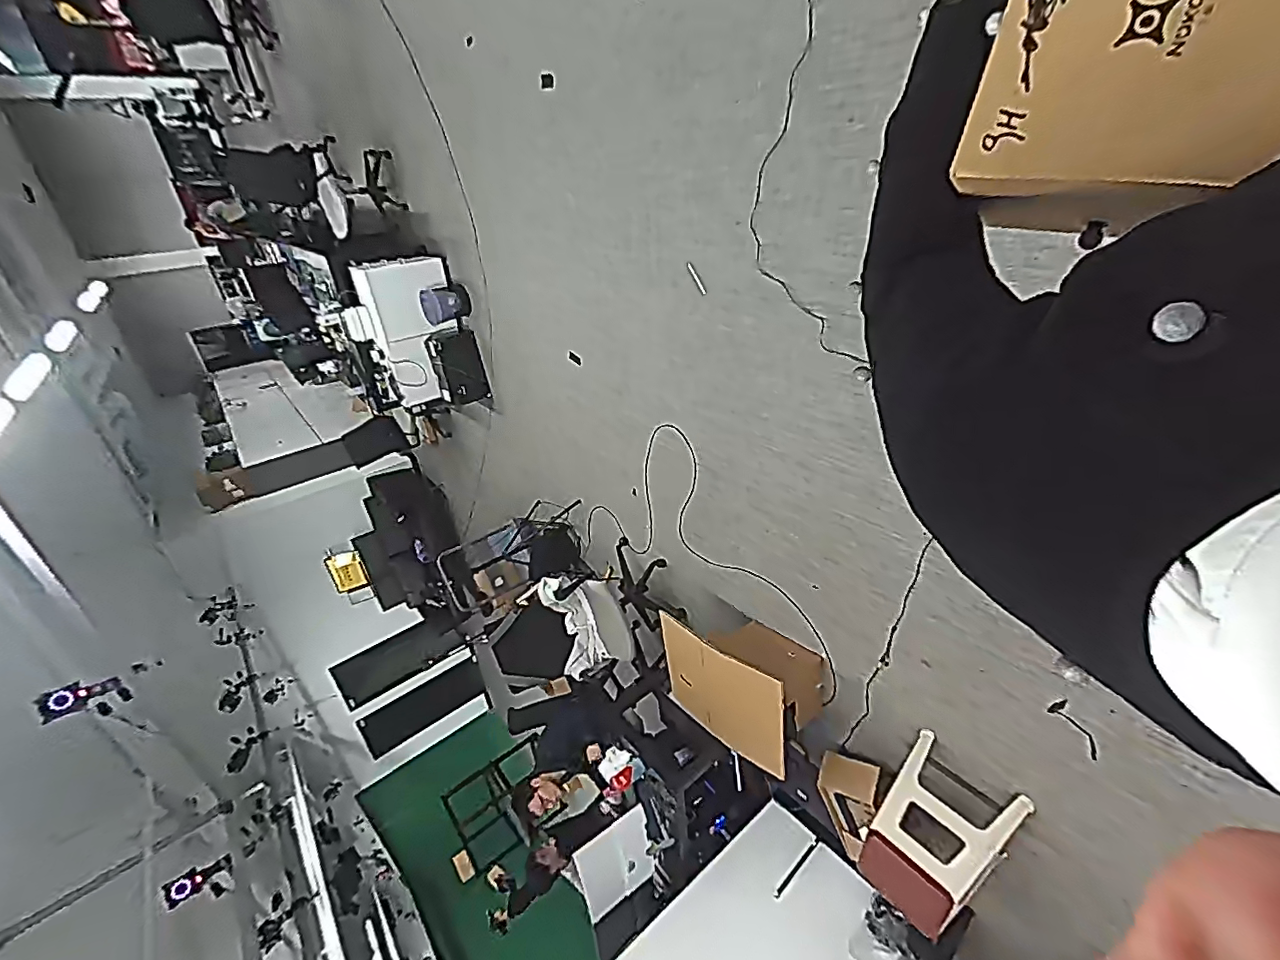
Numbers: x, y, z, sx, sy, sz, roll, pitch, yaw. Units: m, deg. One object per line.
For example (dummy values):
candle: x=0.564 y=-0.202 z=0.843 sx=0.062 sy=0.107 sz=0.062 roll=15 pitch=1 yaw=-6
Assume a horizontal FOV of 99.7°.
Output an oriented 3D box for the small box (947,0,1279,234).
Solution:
small box: x=0.349 y=-0.278 z=0.374 sx=0.179 sy=0.176 sz=0.168 roll=25 pitch=114 yaw=33
